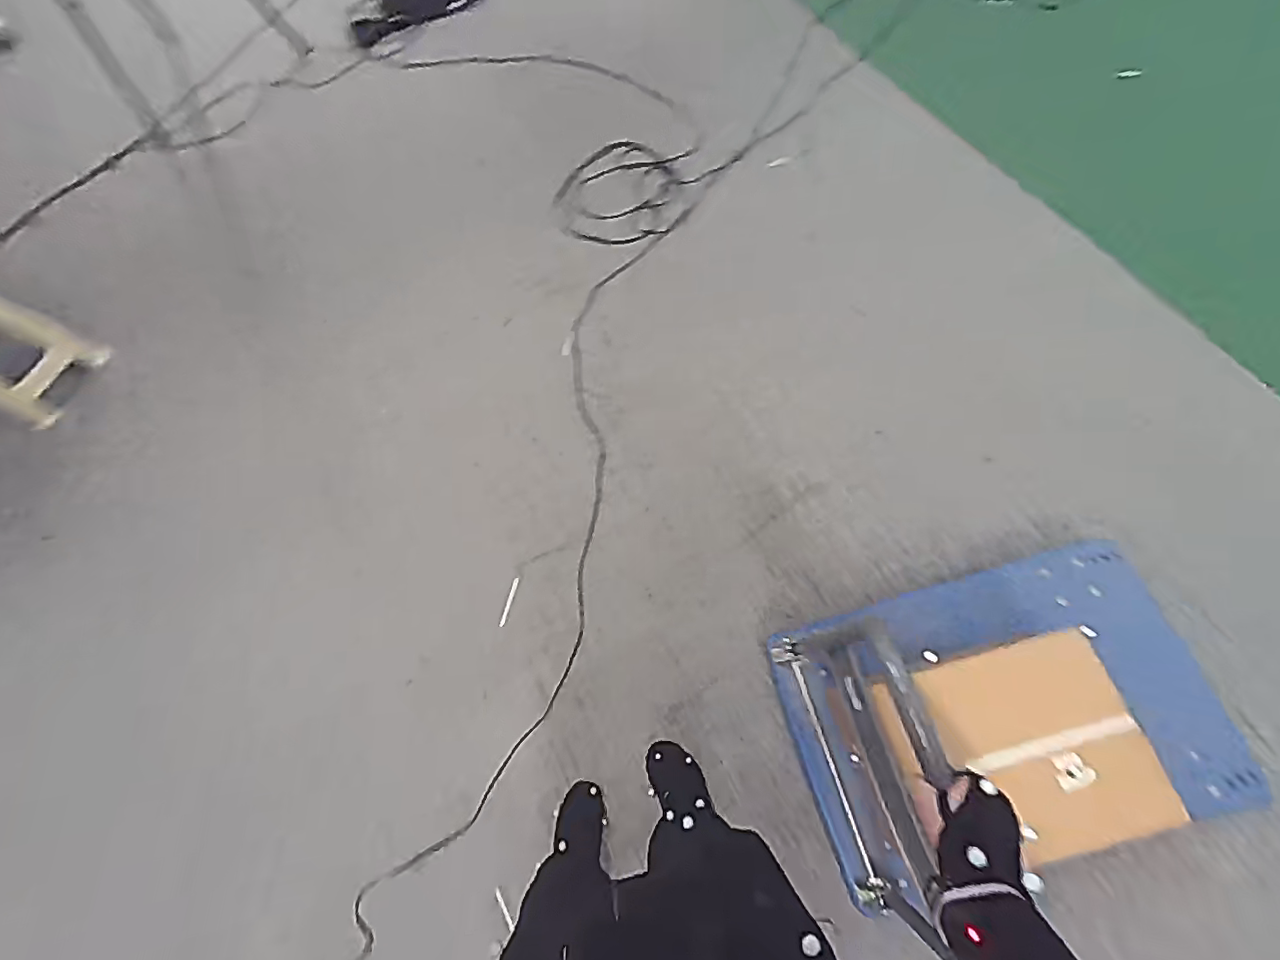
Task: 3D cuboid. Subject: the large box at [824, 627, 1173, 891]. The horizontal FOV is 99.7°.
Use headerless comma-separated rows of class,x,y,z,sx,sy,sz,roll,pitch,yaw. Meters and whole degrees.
large box,0.631,0.511,1.046,0.408,0.320,0.320,-16,68,-1
